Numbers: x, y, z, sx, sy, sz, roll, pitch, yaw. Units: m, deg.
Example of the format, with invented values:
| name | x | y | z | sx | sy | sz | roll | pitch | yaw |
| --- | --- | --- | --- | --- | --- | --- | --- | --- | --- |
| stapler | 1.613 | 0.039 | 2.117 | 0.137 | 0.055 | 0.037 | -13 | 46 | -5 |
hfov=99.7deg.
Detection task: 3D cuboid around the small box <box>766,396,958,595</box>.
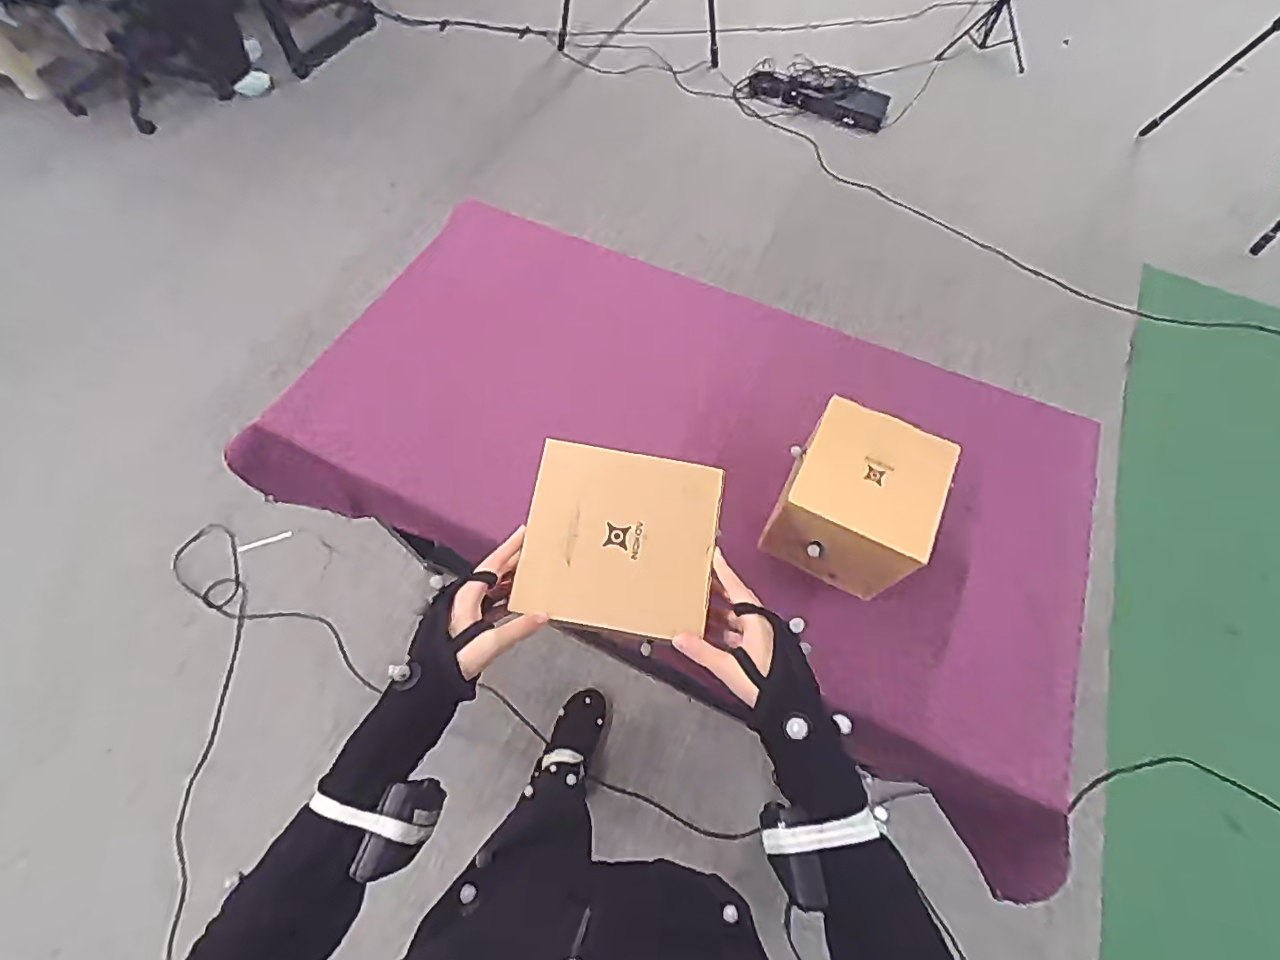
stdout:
| name | x | y | z | sx | sy | sz | roll | pitch | yaw |
| --- | --- | --- | --- | --- | --- | --- | --- | --- | --- |
| small box | 0.281 | 0.028 | 0.718 | 0.168 | 0.176 | 0.179 | 25 | 63 | 12 |
